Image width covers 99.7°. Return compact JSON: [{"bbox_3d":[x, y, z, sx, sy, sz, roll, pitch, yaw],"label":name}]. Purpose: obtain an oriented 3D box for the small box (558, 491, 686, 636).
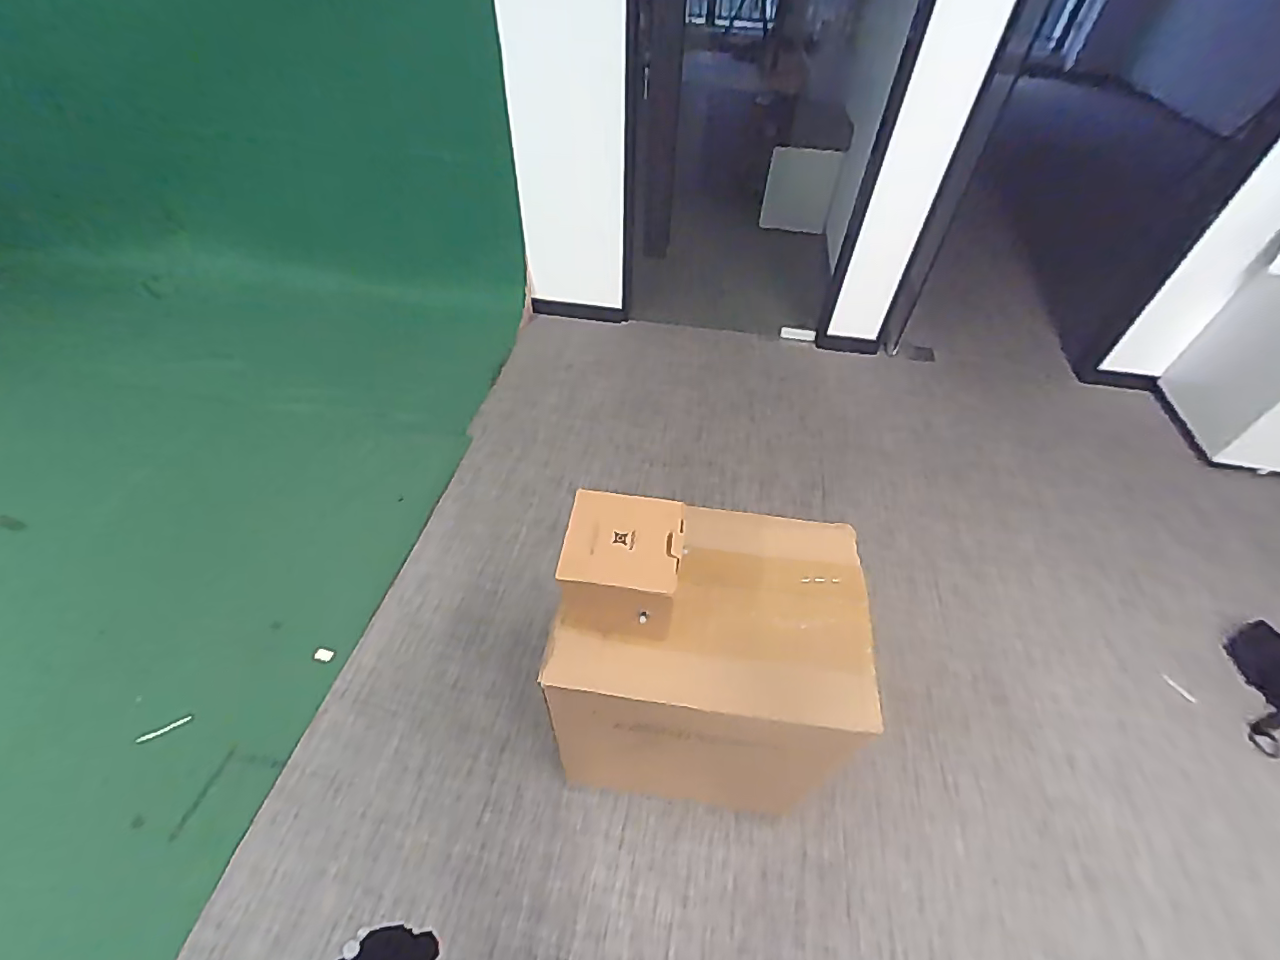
[{"bbox_3d":[-0.024,0.141,0.883,0.179,0.176,0.168,6,51,4],"label":"small box"}]
